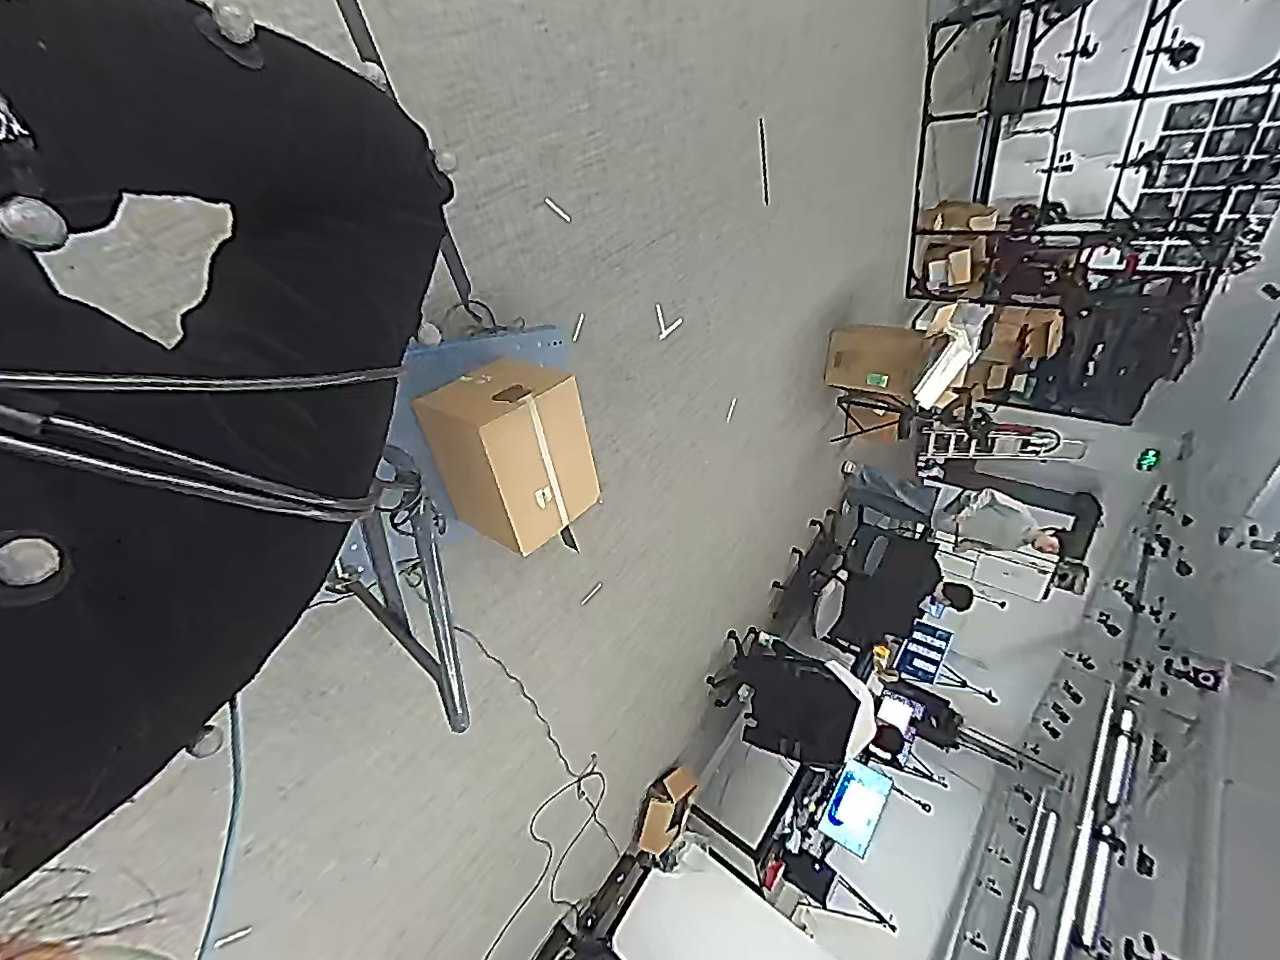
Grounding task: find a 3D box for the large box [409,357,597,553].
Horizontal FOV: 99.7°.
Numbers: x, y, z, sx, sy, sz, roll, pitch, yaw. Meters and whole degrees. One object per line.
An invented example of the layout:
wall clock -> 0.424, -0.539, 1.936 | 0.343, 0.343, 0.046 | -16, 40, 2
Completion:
large box -> -0.365, -0.081, 1.503 | 0.320, 0.320, 0.408 | -38, 134, -35
